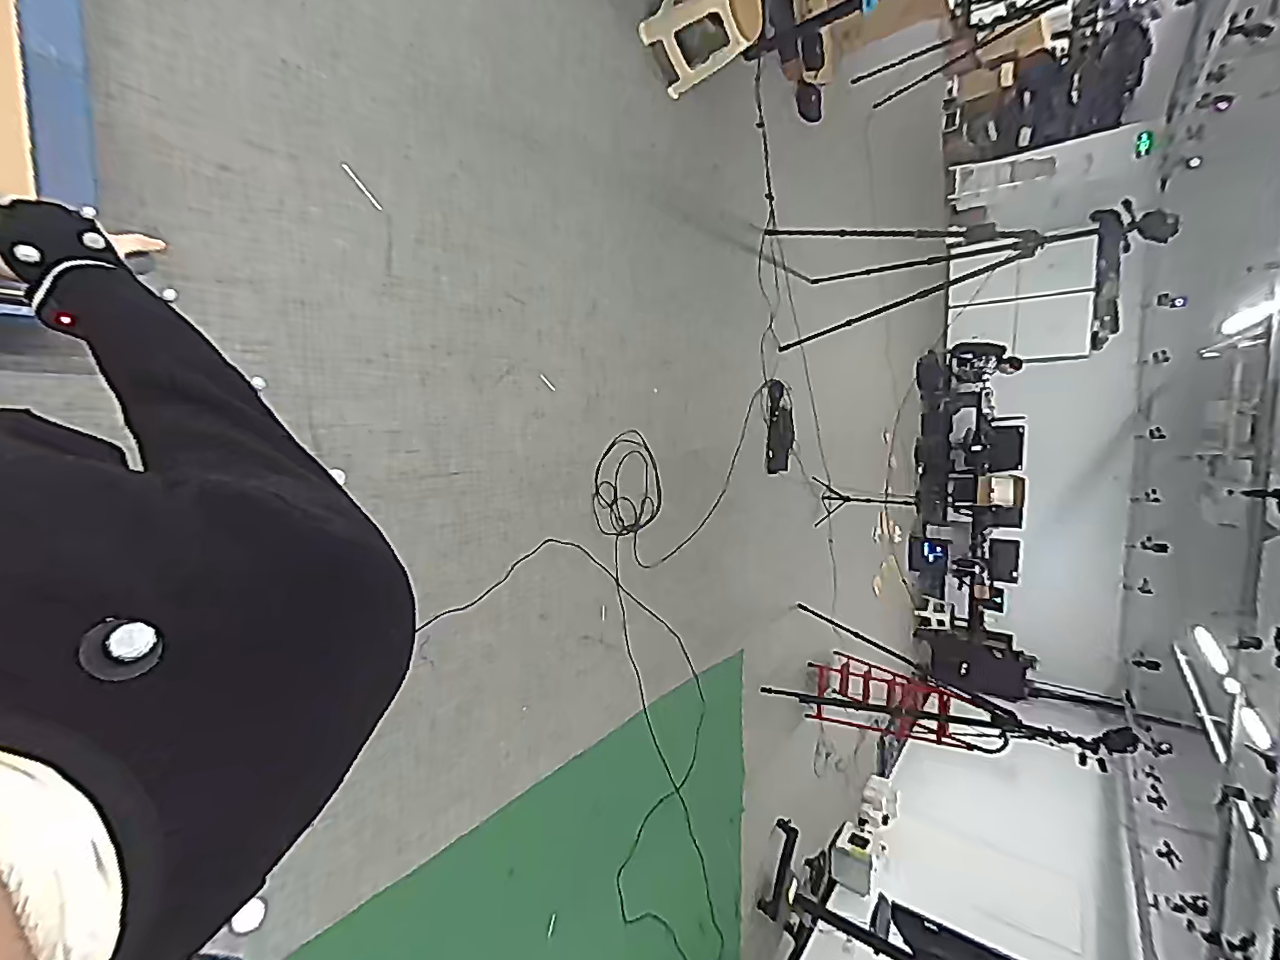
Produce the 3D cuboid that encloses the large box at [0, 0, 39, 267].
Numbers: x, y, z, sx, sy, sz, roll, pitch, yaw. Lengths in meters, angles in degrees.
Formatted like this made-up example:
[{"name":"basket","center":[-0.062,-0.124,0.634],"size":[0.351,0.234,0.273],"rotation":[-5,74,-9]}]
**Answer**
[{"name":"large box","center":[-1.107,-0.559,0.754],"size":[0.320,0.320,0.408],"rotation":[-9,98,-51]}]
